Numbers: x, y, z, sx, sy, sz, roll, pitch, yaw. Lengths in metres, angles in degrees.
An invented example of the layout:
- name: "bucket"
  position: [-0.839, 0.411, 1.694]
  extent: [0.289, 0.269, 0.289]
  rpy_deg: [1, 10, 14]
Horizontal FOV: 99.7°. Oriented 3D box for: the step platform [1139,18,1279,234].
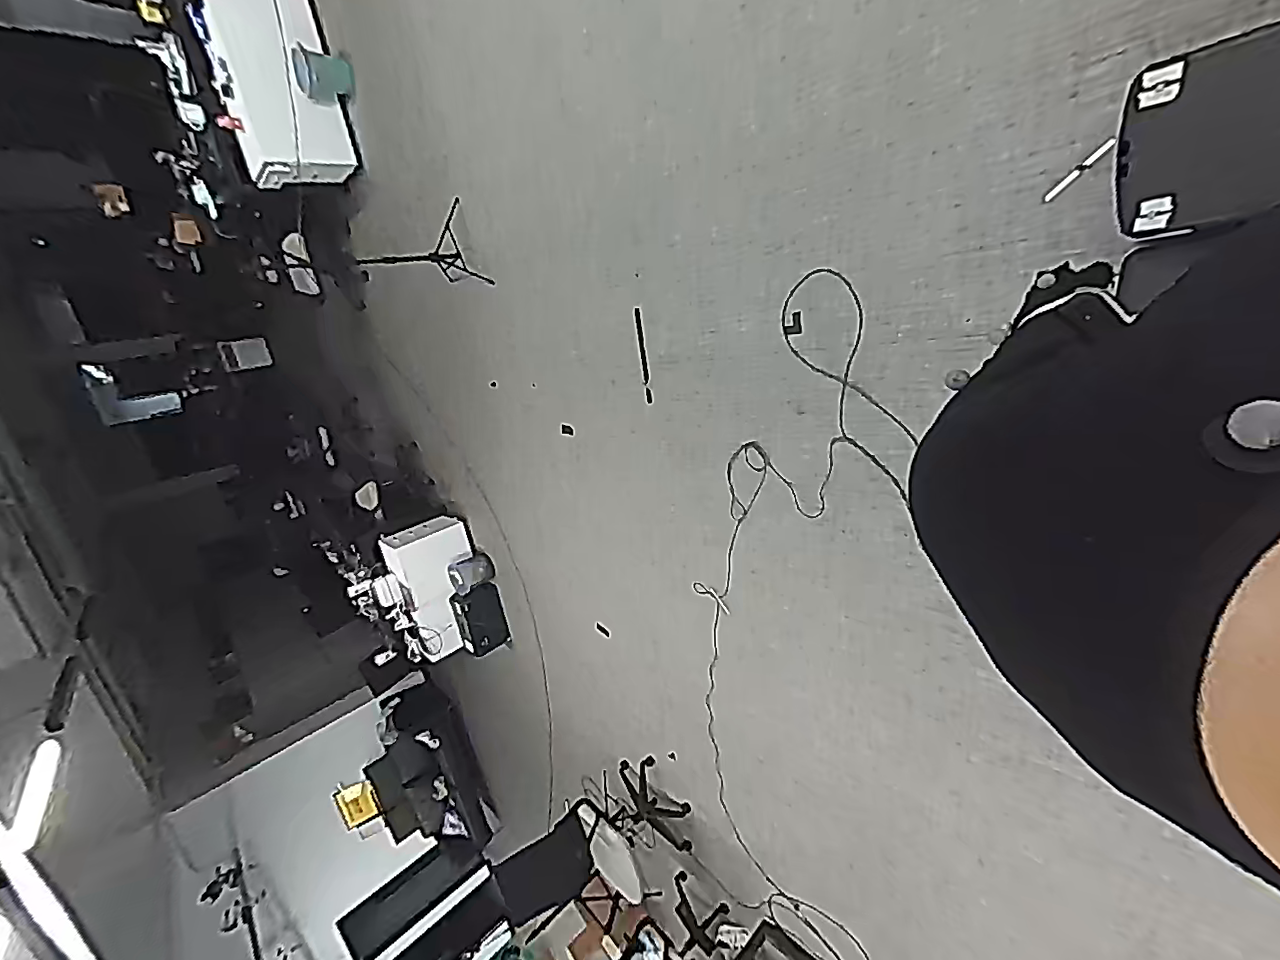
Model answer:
- name: "step platform"
  position: [1.164, -0.573, 0.758]
  extent: [0.684, 0.204, 0.286]
  rpy_deg: [6, 114, 47]
